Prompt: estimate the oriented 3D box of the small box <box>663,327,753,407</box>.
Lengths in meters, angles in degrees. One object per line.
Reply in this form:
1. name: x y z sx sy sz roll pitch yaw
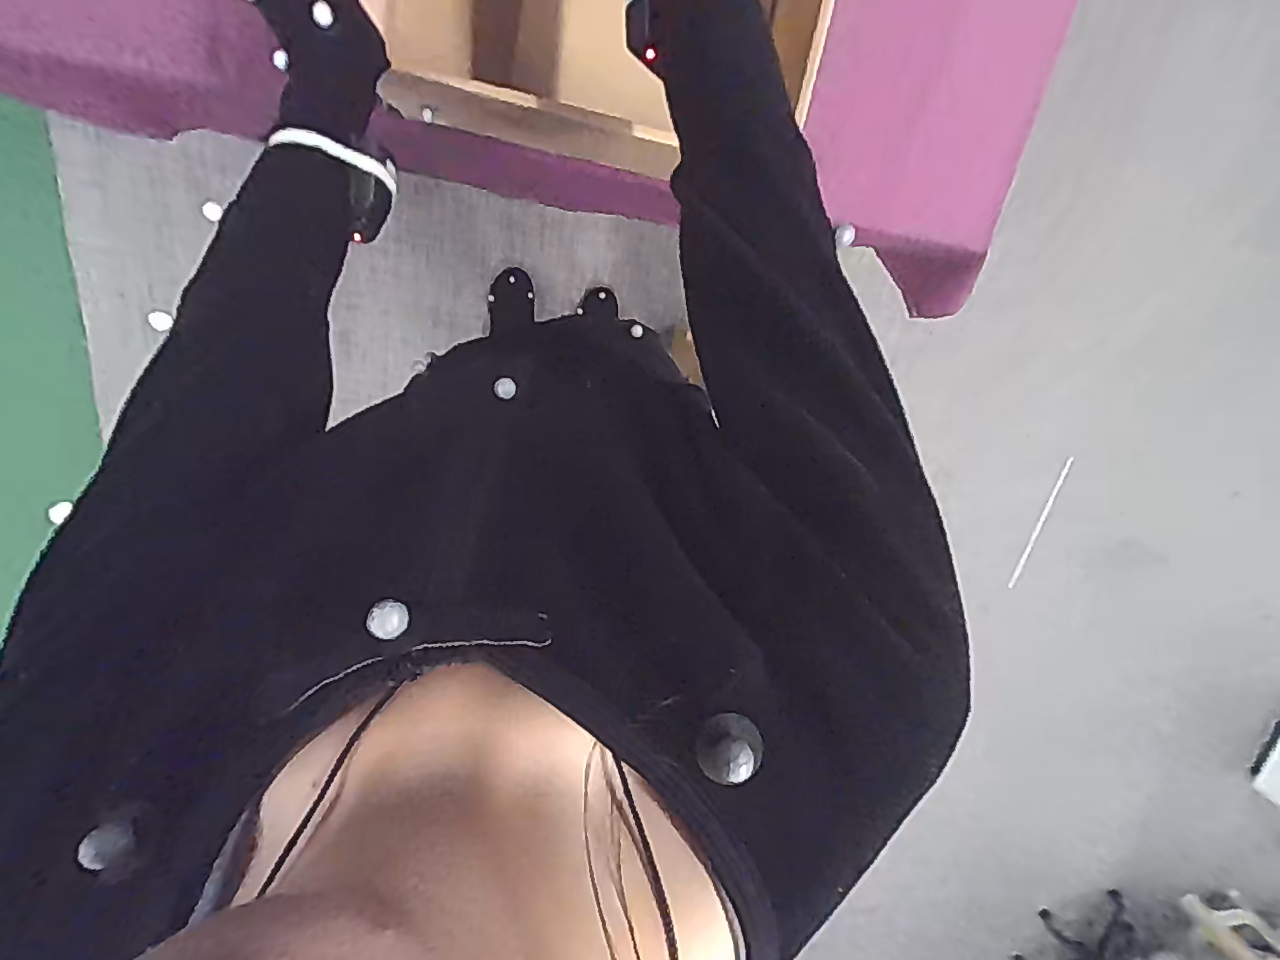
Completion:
1. small box: 0.170 -0.297 1.402 0.179 0.176 0.168 6 110 -10
